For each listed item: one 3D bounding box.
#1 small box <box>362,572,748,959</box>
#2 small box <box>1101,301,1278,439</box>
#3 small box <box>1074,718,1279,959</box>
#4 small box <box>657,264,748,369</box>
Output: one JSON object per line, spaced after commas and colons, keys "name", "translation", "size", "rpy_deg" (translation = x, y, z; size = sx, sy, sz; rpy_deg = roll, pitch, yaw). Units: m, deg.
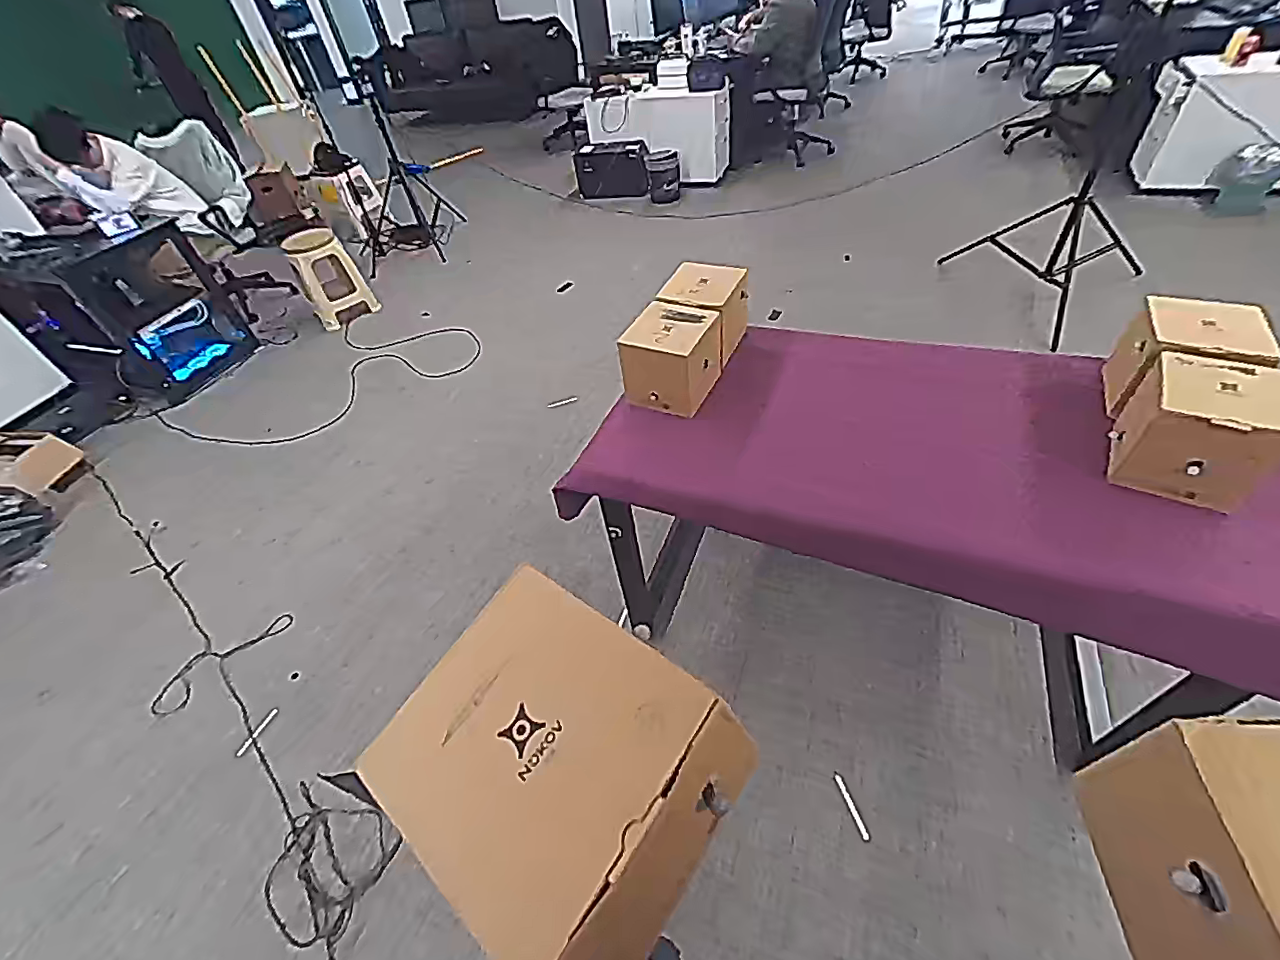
{"name": "small box", "translation": [-0.042, 0.200, 0.383], "size": [0.179, 0.176, 0.168], "rpy_deg": [24, 65, 34]}
{"name": "small box", "translation": [0.997, -0.205, 1.004], "size": [0.168, 0.176, 0.179], "rpy_deg": [16, 50, 22]}
{"name": "small box", "translation": [0.394, 0.250, 0.304], "size": [0.168, 0.176, 0.179], "rpy_deg": [-5, 51, 13]}
{"name": "small box", "translation": [0.154, -0.398, 1.314], "size": [0.168, 0.176, 0.179], "rpy_deg": [16, 52, 22]}
